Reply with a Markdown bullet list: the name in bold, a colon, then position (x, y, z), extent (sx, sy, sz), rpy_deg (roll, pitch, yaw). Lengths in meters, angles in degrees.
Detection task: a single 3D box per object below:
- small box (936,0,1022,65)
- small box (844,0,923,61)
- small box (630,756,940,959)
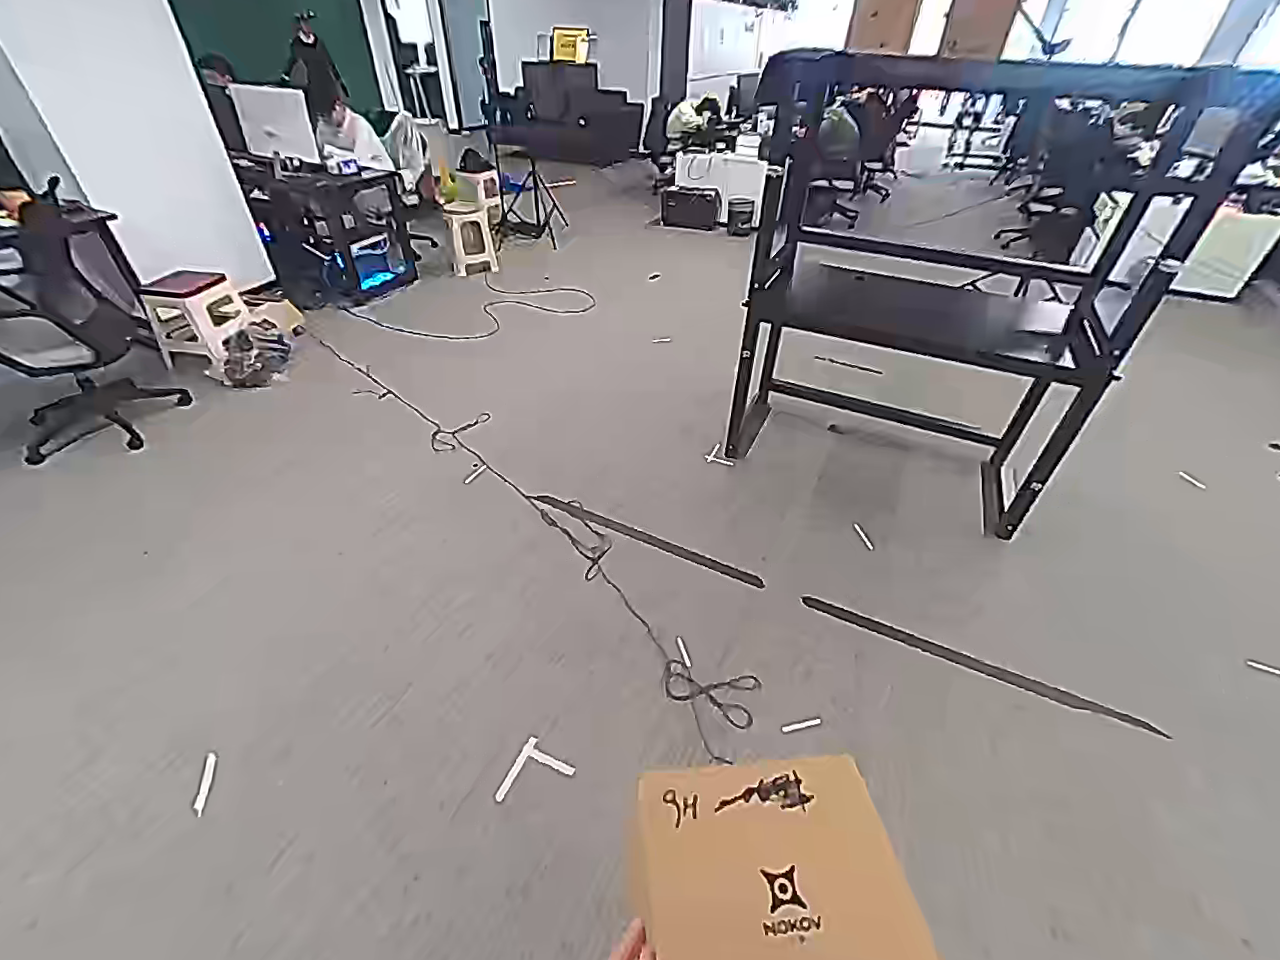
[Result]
- **small box**: position (0.912, -1.225, 1.449), extent (0.168, 0.176, 0.179), rpy_deg (19, 40, 20)
- **small box**: position (0.683, -1.282, 1.510), extent (0.168, 0.176, 0.179), rpy_deg (19, 40, 18)
- **small box**: position (0.084, 0.323, 0.373), extent (0.168, 0.176, 0.179), rpy_deg (0, 36, -7)
